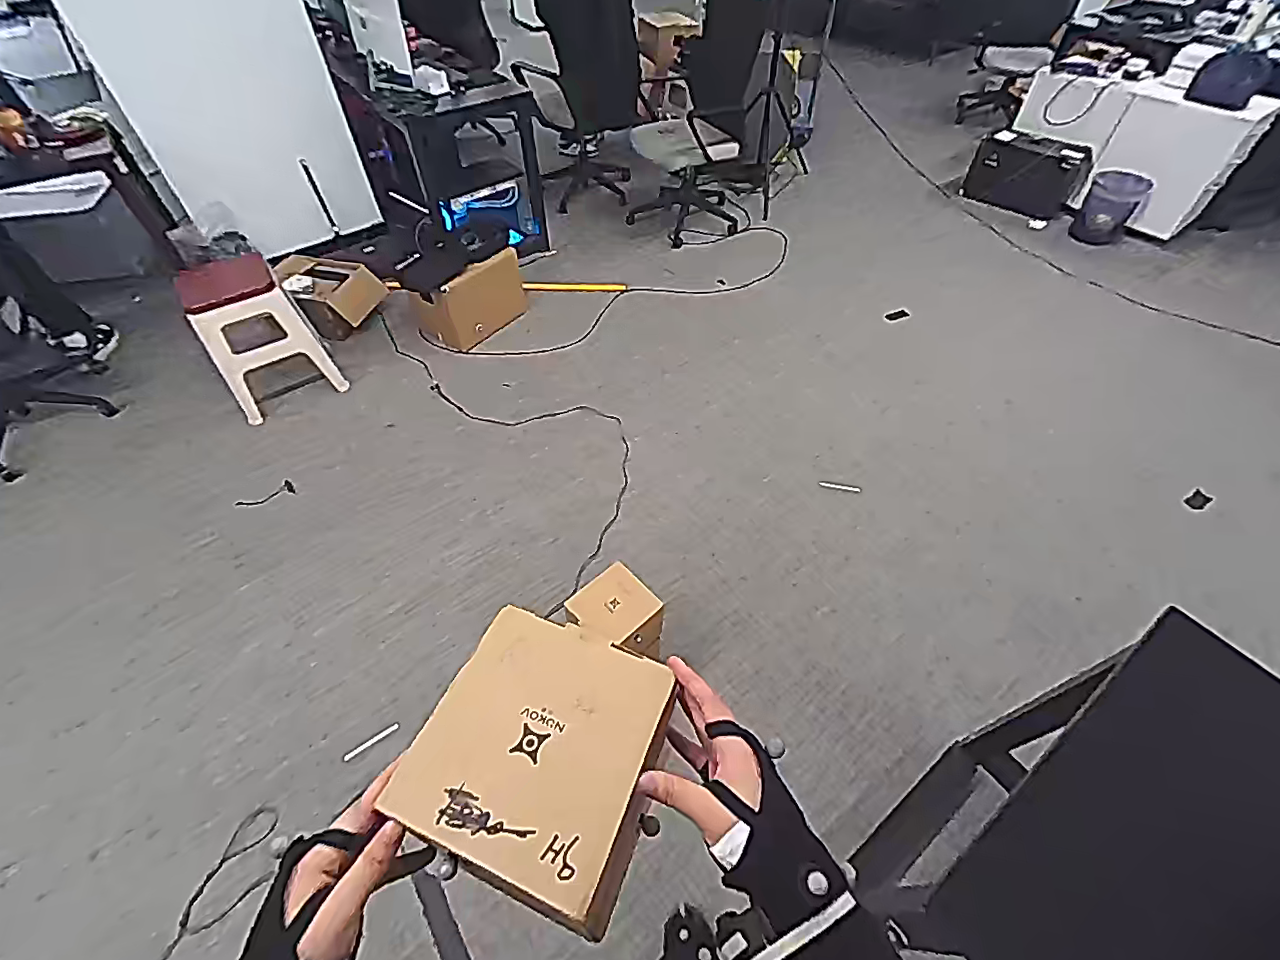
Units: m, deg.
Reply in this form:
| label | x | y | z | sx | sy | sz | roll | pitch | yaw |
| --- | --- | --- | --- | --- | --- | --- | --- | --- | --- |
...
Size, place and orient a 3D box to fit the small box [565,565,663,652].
| label | x | y | z | sx | sy | sz | roll | pitch | yaw |
| --- | --- | --- | --- | --- | --- | --- | --- | --- | --- |
| small box | -0.059 | 0.350 | 1.325 | 0.179 | 0.176 | 0.168 | -36 | 59 | -27 |

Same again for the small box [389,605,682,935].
| label | x | y | z | sx | sy | sz | roll | pitch | yaw |
| --- | --- | --- | --- | --- | --- | --- | --- | --- | --- |
| small box | -0.072 | 0.247 | 0.469 | 0.168 | 0.176 | 0.179 | 15 | 47 | 17 |
